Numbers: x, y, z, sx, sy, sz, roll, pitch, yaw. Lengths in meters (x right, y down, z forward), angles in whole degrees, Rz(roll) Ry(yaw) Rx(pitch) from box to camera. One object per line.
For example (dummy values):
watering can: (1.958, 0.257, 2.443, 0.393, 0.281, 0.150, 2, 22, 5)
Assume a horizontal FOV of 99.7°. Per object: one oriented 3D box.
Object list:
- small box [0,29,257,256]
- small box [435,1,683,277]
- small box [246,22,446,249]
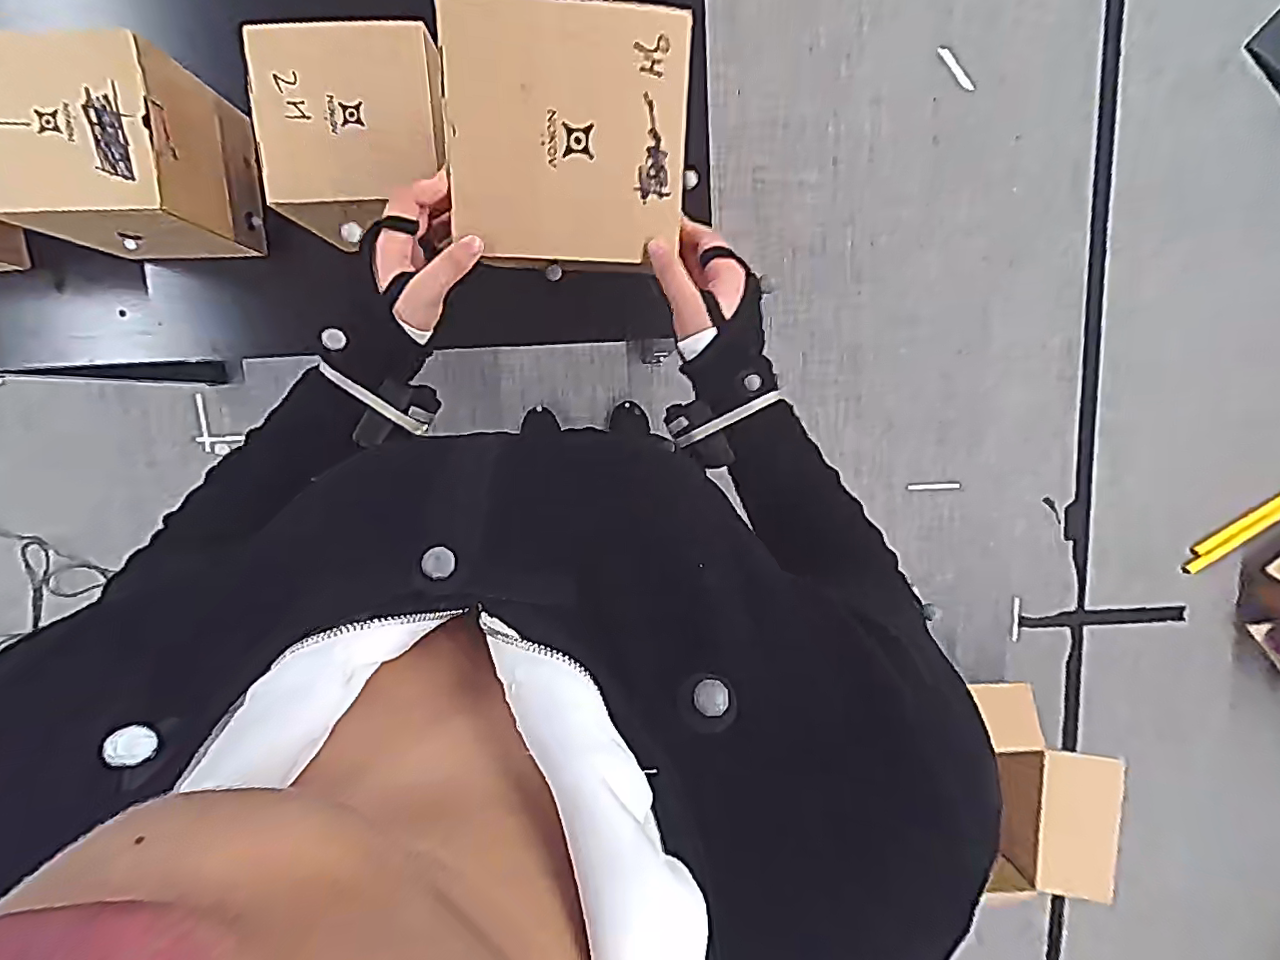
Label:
small box: (-0.566, -0.359, 0.606, 0.179, 0.176, 0.168, -2, 98, -2)
small box: (-0.063, -0.273, 0.476, 0.179, 0.176, 0.168, 2, 107, -3)
small box: (-0.297, -0.374, 0.616, 0.179, 0.176, 0.168, -3, 97, -3)
